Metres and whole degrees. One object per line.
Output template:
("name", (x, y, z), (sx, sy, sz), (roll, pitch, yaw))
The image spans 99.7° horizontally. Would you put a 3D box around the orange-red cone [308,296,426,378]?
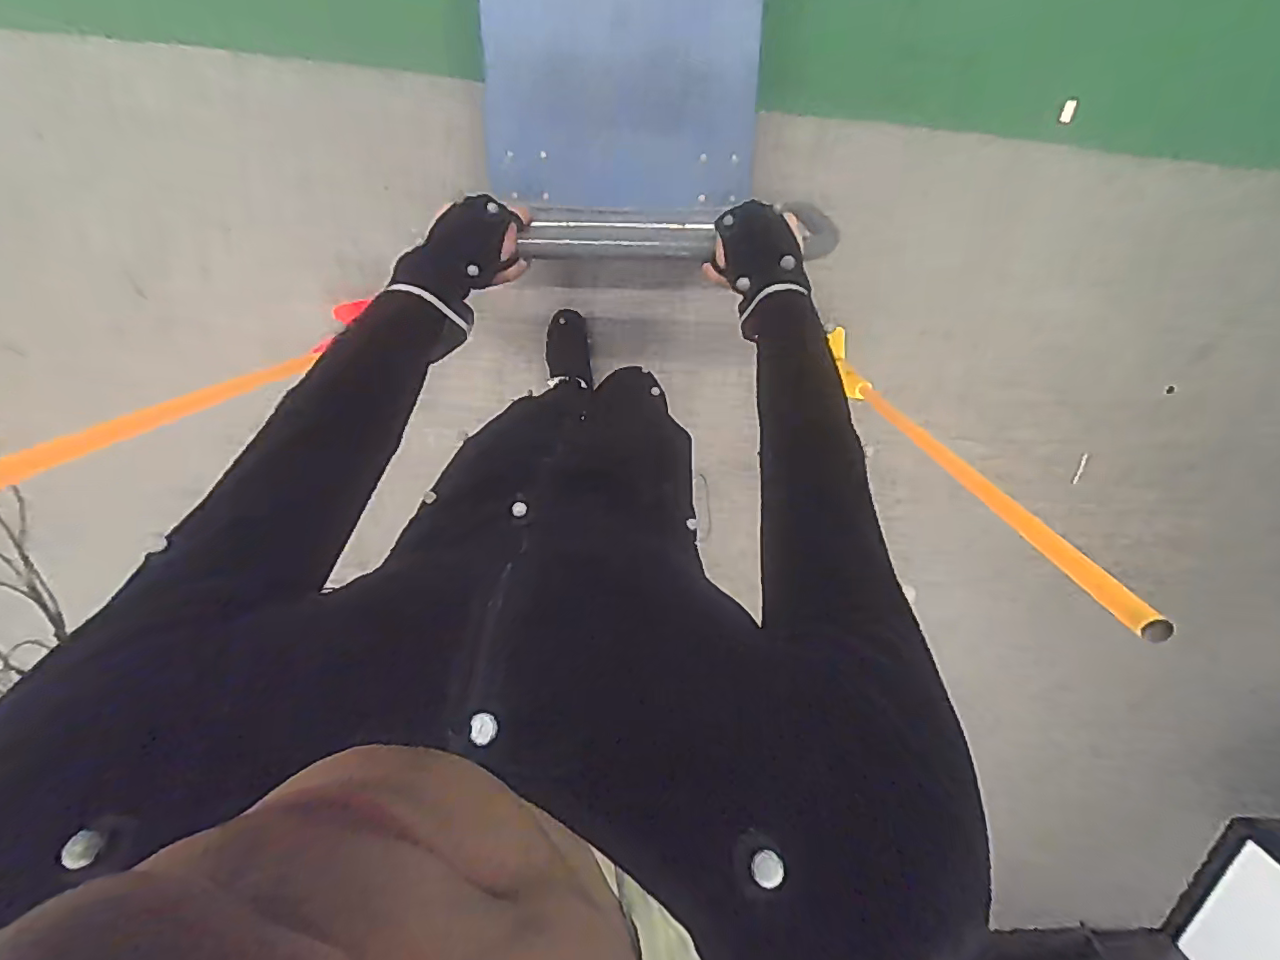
("orange-red cone", (-0.680, -0.317, 1.283), (0.199, 0.360, 0.198), (-10, 111, 2))
